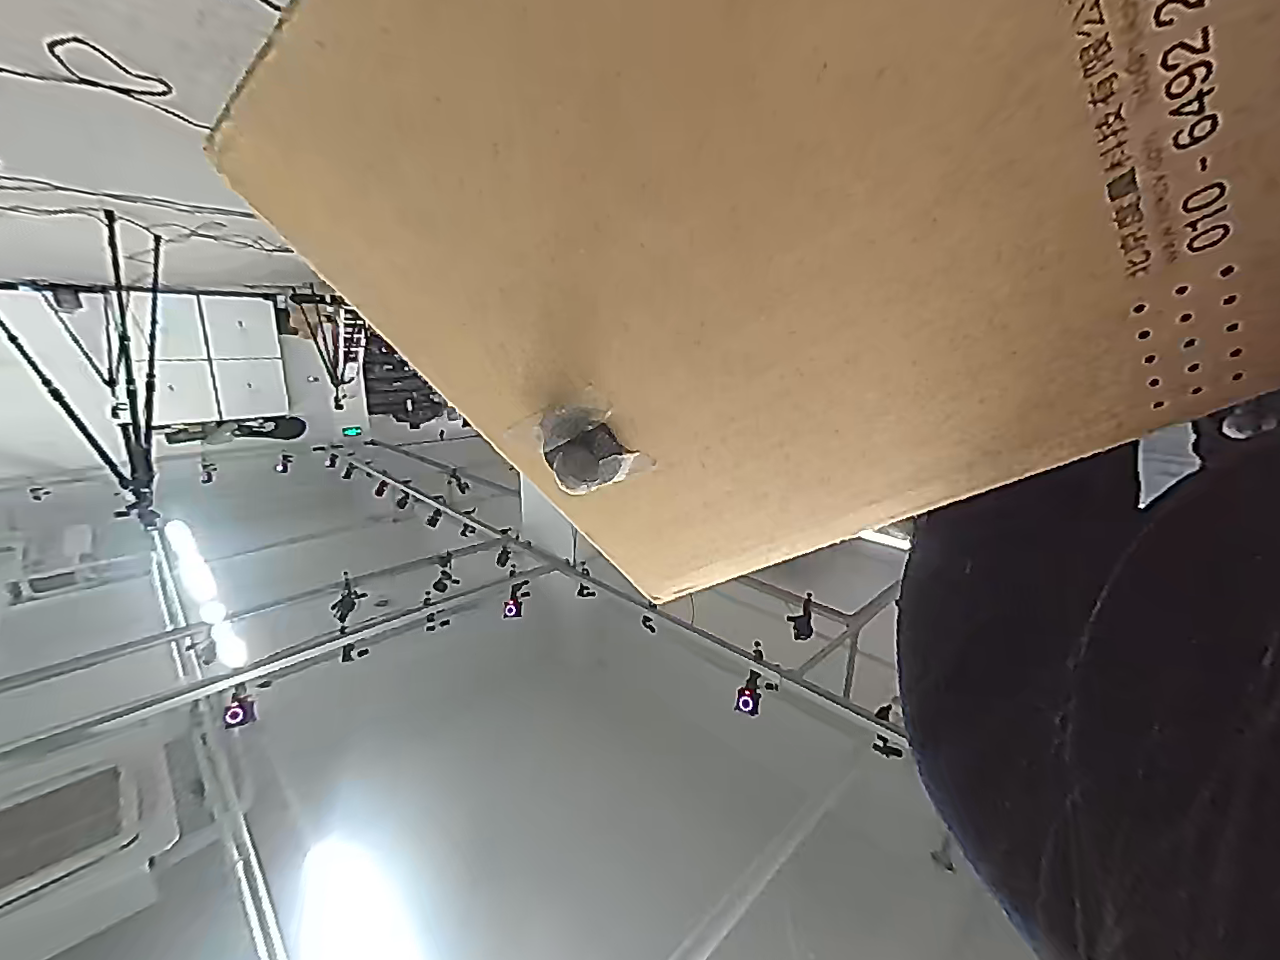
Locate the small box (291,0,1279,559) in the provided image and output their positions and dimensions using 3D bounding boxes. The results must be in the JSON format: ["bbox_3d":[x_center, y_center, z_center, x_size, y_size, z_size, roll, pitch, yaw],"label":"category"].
[{"bbox_3d":[0.045,-0.108,0.183,0.176,0.168,0.179,-26,-149,27],"label":"small box"}]
